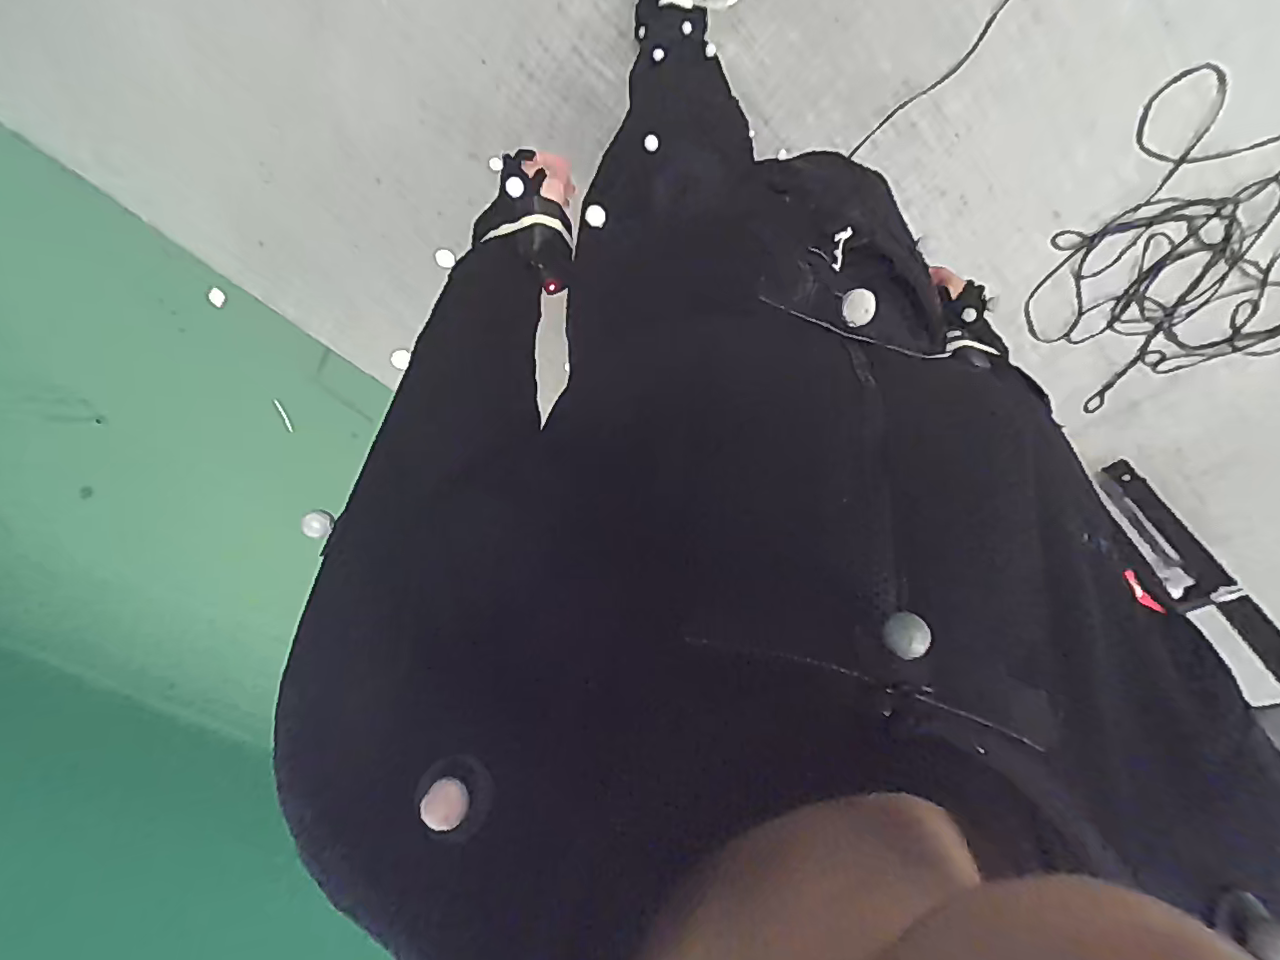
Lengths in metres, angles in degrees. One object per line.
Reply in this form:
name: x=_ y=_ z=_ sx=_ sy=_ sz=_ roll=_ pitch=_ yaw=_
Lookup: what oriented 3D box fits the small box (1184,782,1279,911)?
small box: x=1.185 y=0.681 z=1.012 sx=0.179 sy=0.176 sz=0.168 roll=37 pitch=127 yaw=-25
